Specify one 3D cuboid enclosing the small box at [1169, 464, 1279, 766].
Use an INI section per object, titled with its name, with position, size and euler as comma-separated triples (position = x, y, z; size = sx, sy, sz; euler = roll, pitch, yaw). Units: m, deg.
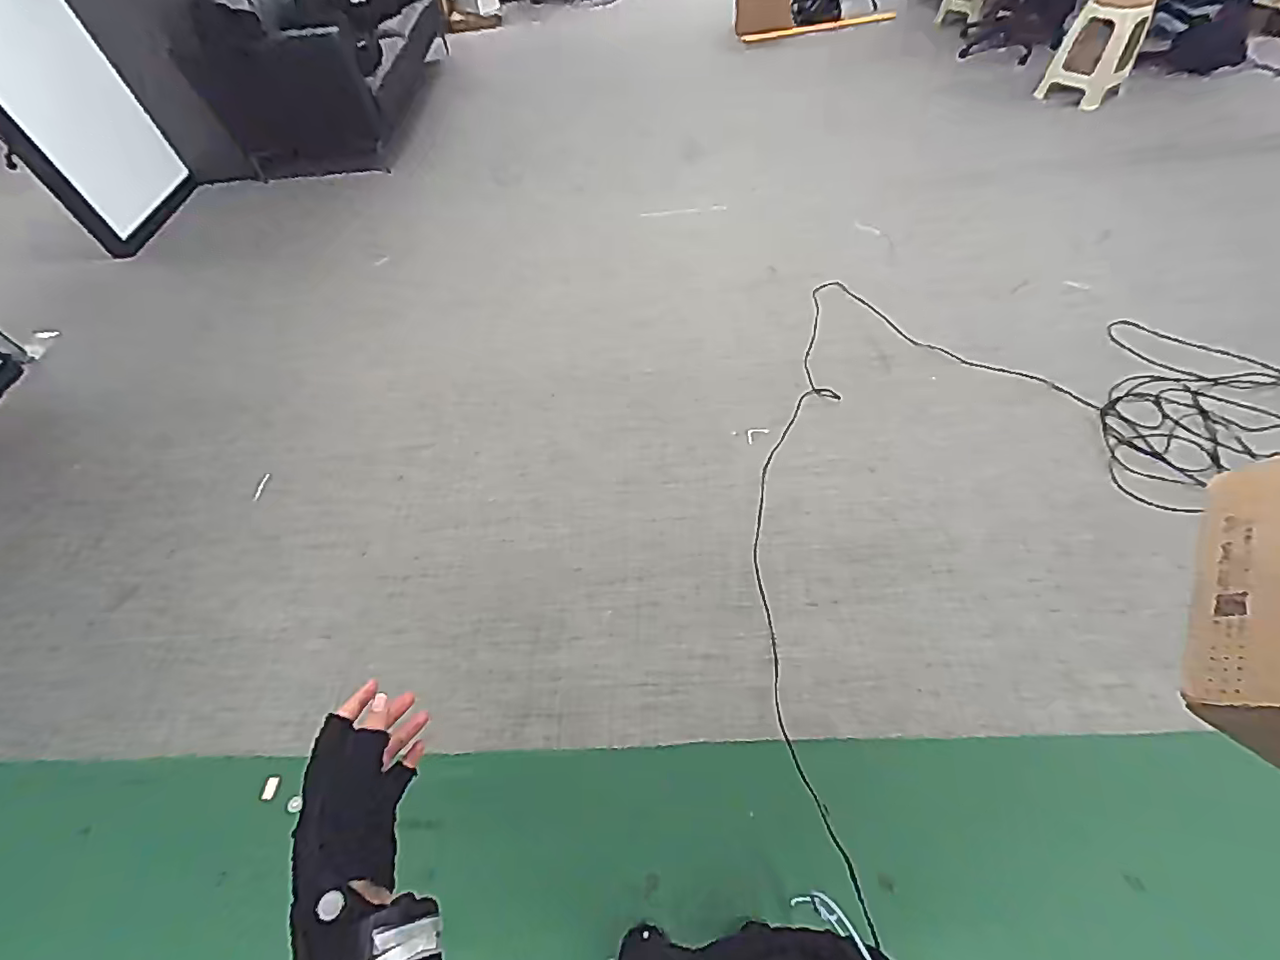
[small box]
position = 0.414, 0.076, 0.247
size = 0.179, 0.176, 0.168
euler = 33, 67, 1
